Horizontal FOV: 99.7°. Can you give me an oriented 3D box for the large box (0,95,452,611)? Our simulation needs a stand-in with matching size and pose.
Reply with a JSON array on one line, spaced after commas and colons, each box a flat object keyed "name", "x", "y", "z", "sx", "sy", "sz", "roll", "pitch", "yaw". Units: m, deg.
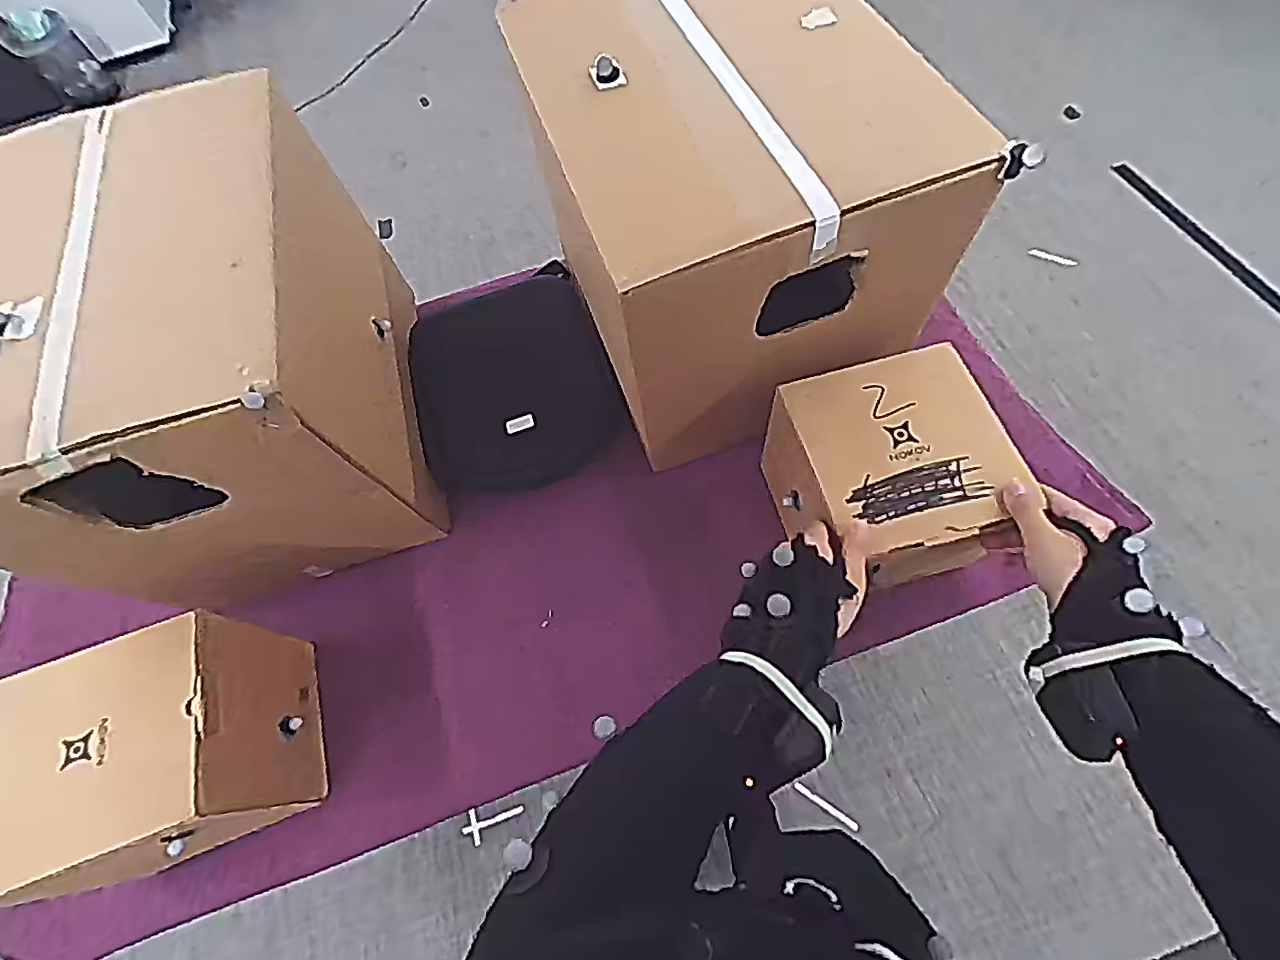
[{"name": "large box", "x": -0.442, "y": -0.114, "z": 0.596, "sx": 0.320, "sy": 0.320, "sz": 0.408, "roll": -18, "pitch": 67, "yaw": -2}]

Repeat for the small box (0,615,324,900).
[{"name": "small box", "x": -0.431, "y": 0.250, "z": 0.499, "sx": 0.179, "sy": 0.176, "sz": 0.168, "roll": -21, "pitch": 64, "yaw": -7}]
